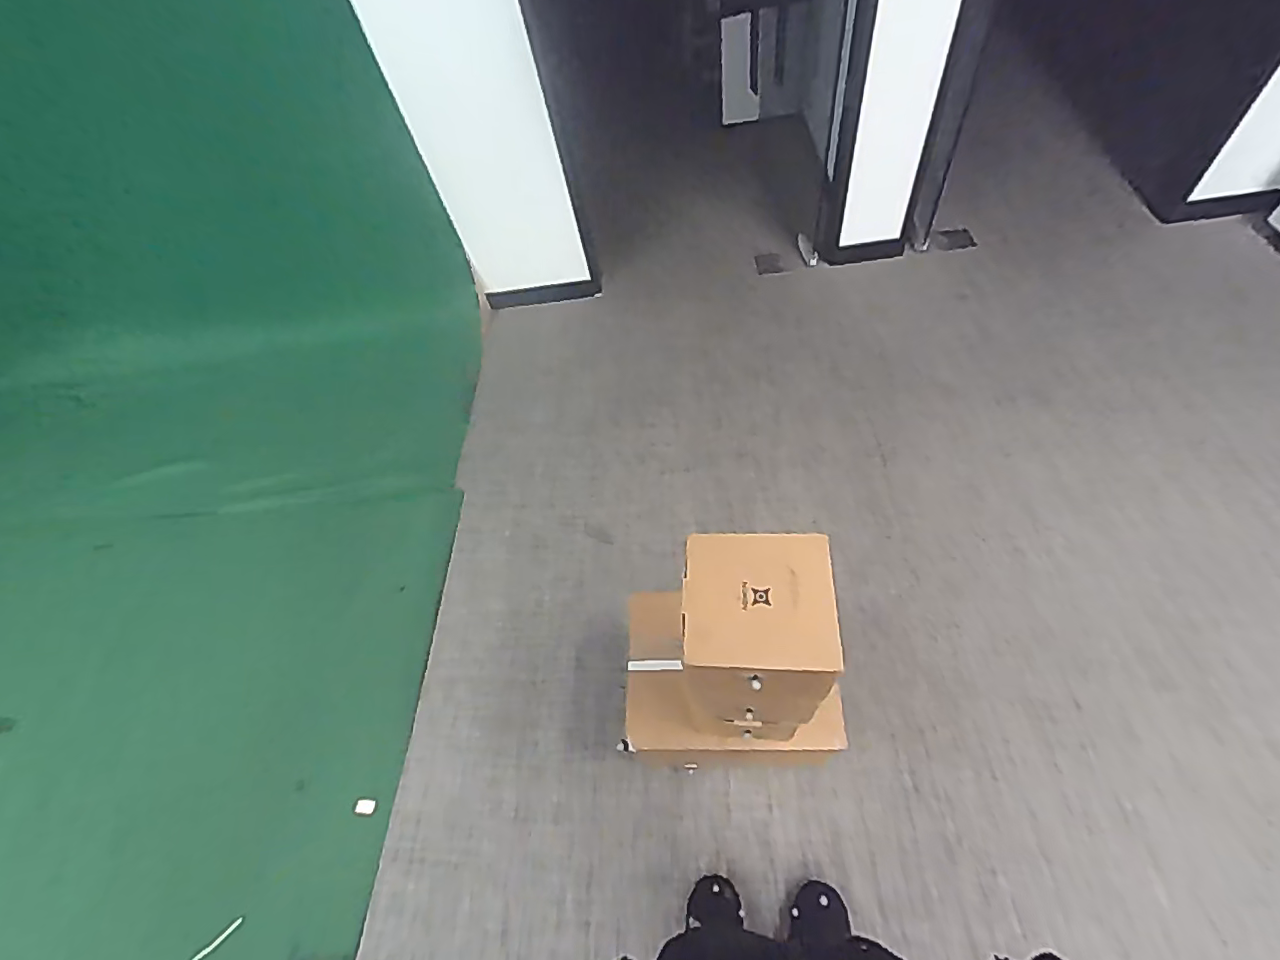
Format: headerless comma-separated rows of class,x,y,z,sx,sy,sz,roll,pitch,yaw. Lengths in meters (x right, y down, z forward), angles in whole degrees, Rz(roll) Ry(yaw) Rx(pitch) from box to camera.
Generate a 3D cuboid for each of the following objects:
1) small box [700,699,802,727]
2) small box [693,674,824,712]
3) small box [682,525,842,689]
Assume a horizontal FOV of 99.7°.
small box,0.199,0.340,0.976,0.168,0.176,0.179,-2,58,10
small box,0.178,0.256,0.836,0.179,0.176,0.168,-2,58,11
small box,0.152,0.169,0.702,0.179,0.176,0.168,-2,59,9
